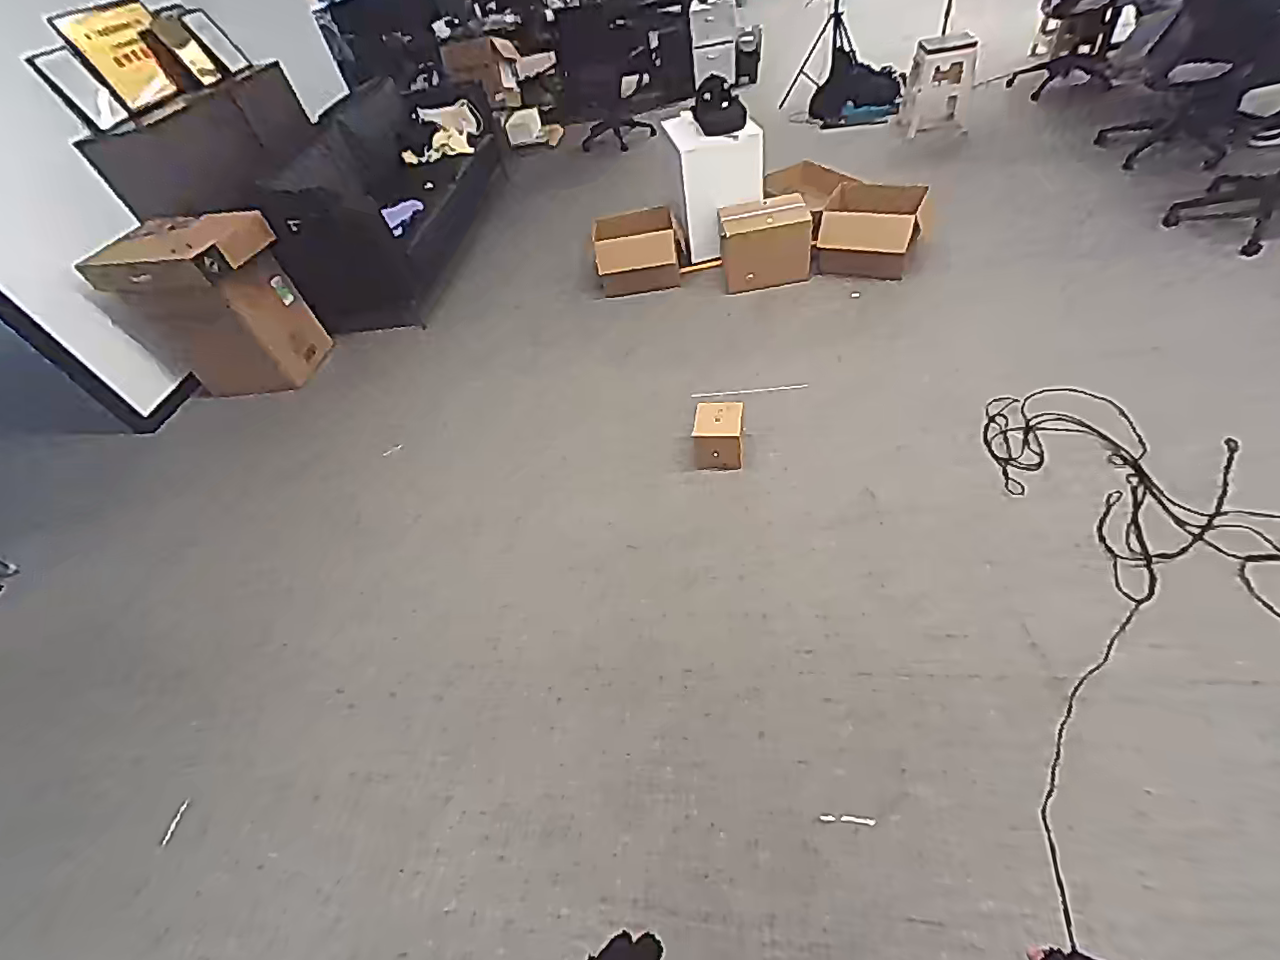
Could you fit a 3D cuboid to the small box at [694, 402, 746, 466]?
[{"bbox_3d":[0.299,-0.166,1.980,0.168,0.176,0.179,2,50,14],"label":"small box"}]
